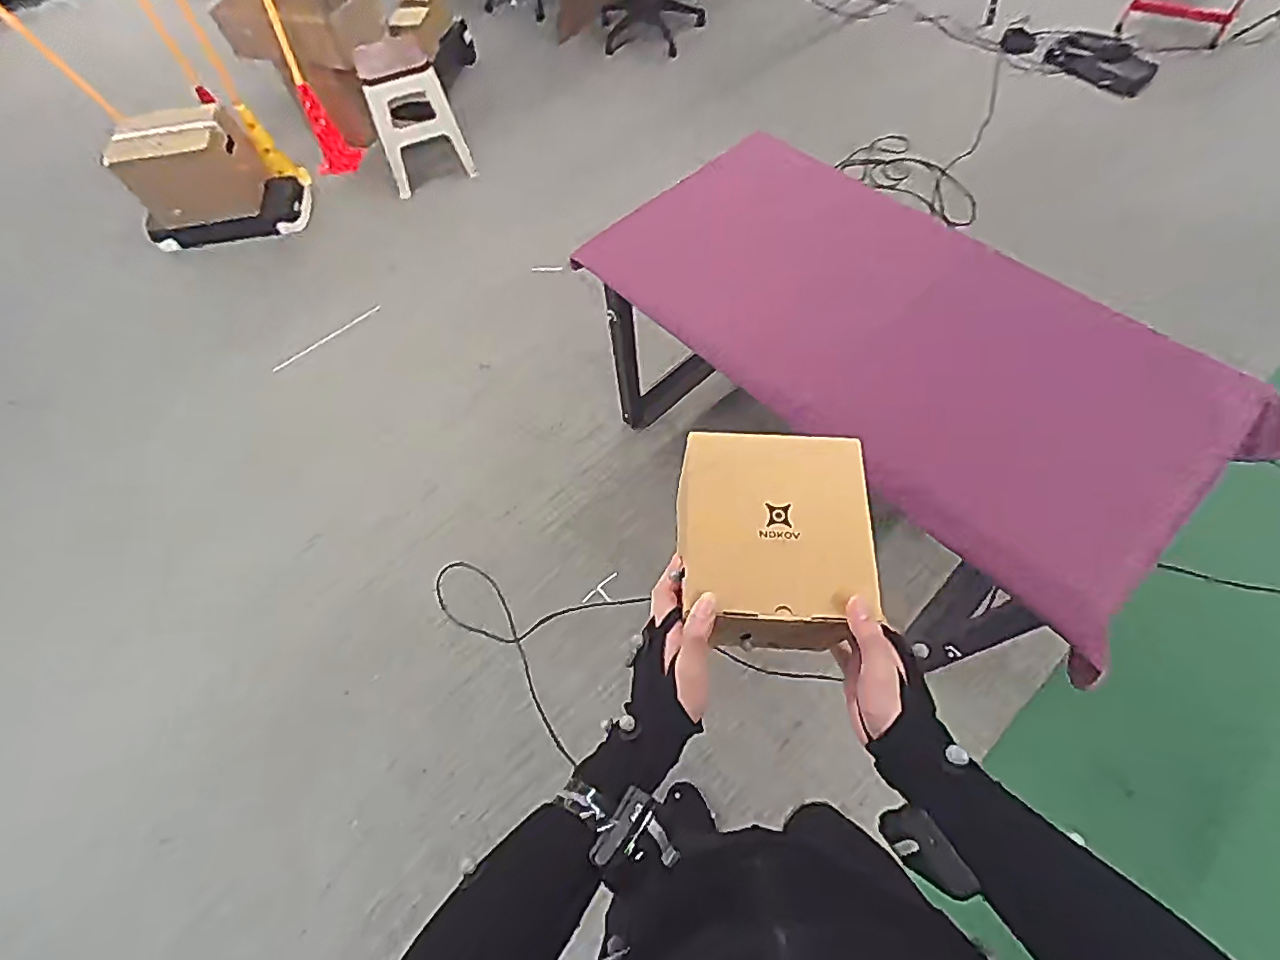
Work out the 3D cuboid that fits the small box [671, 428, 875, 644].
[{"bbox_3d":[0.119,0.065,0.559,0.168,0.176,0.179,3,67,1],"label":"small box"}]
